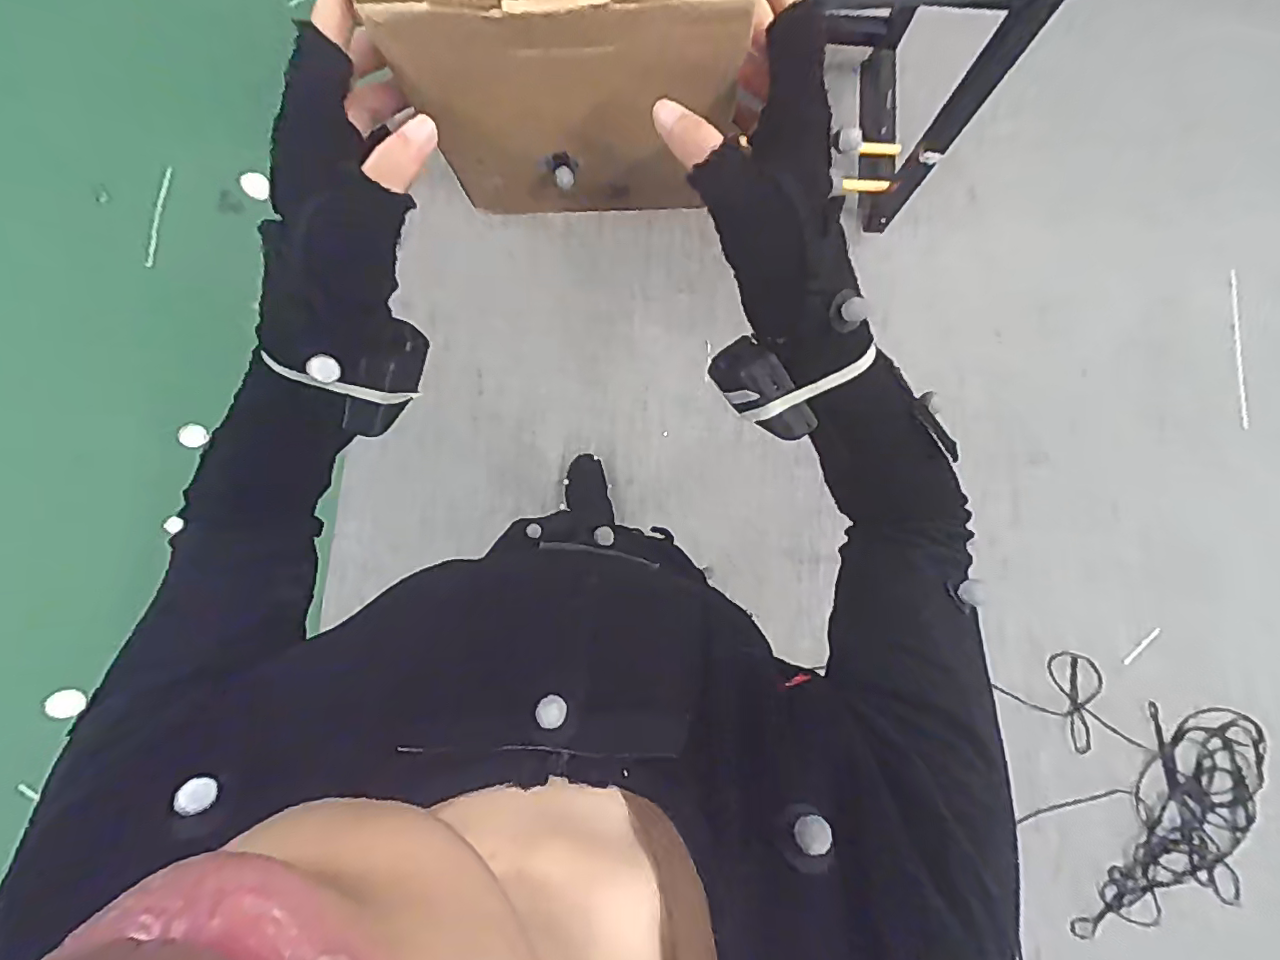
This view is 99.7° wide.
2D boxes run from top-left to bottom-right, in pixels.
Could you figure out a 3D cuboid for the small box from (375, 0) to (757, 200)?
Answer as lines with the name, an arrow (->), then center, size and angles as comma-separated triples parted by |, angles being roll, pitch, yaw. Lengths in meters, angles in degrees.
small box -> -0.035, -0.280, 0.291 | 0.168, 0.176, 0.179 | -1, 90, 1
